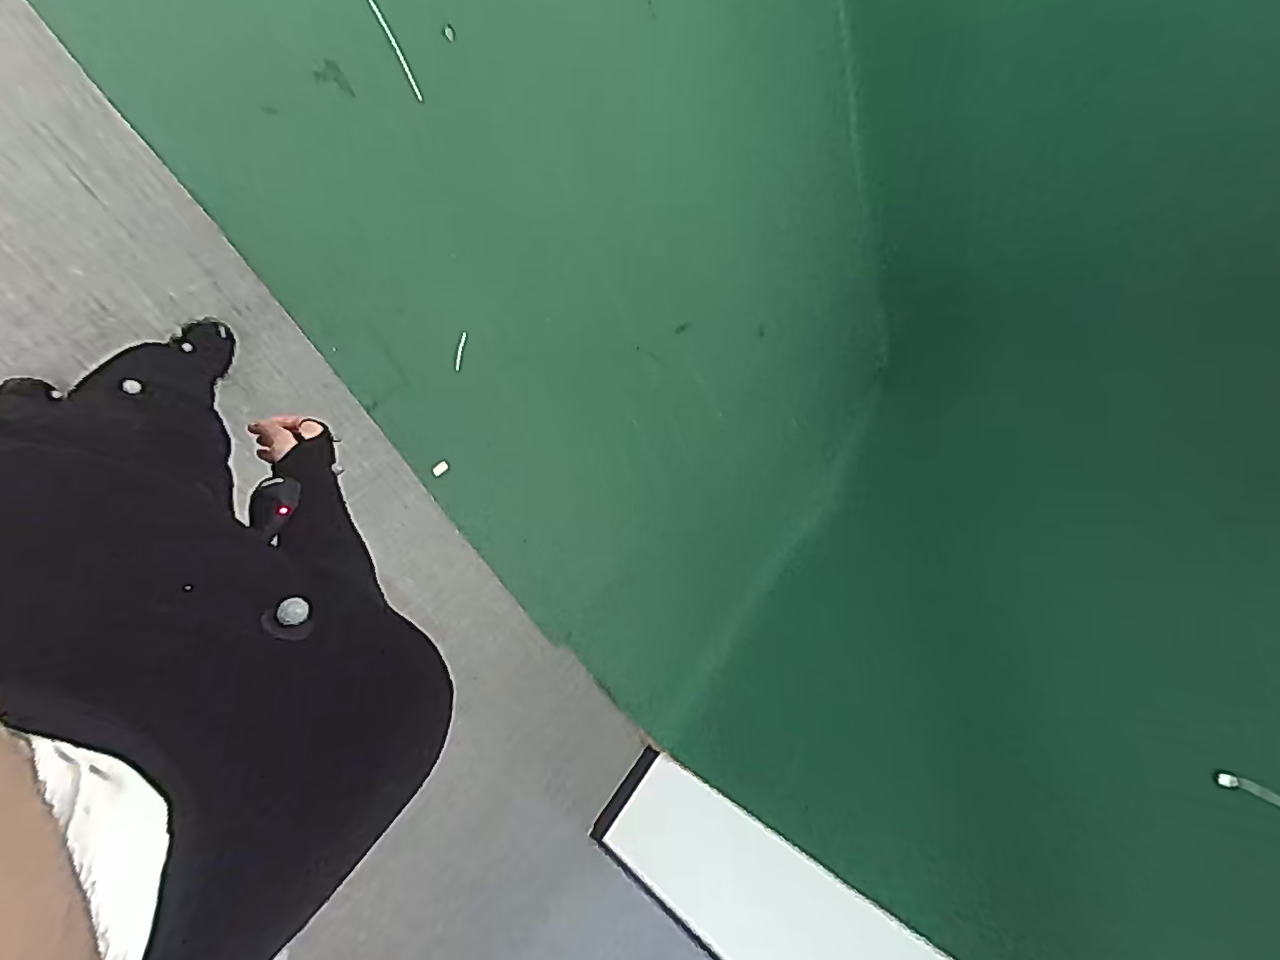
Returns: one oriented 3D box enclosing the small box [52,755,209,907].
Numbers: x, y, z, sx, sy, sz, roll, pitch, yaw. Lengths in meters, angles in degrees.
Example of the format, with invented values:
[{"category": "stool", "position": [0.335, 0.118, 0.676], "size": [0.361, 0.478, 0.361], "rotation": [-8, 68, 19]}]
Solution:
[{"category": "small box", "position": [-1.063, 0.730, 1.139], "size": [0.179, 0.176, 0.168], "rotation": [-44, 129, -29]}]
